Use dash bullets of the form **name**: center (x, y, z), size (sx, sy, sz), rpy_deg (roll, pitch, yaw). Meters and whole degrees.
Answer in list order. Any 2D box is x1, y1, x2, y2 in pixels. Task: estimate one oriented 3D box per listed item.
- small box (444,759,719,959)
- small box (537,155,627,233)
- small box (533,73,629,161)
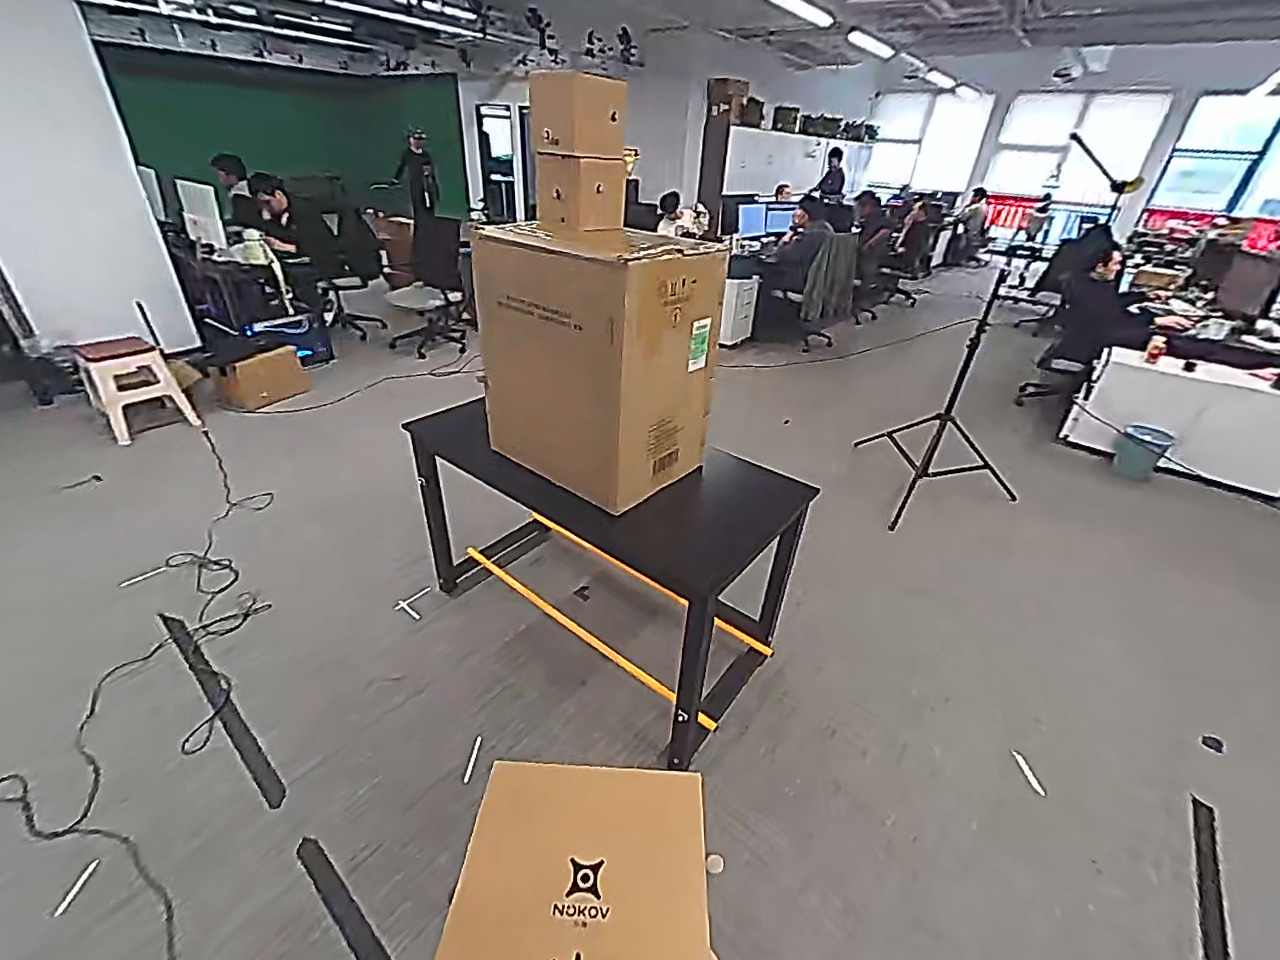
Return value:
- **small box**: center (-0.035, 0.338, 0.390), size (0.168, 0.176, 0.179), rpy_deg (2, 30, 2)
- **small box**: center (-0.151, -0.759, 1.435), size (0.168, 0.176, 0.179), rpy_deg (26, 38, 30)
- **small box**: center (-0.148, -0.891, 1.338), size (0.168, 0.176, 0.179), rpy_deg (26, 38, 33)
